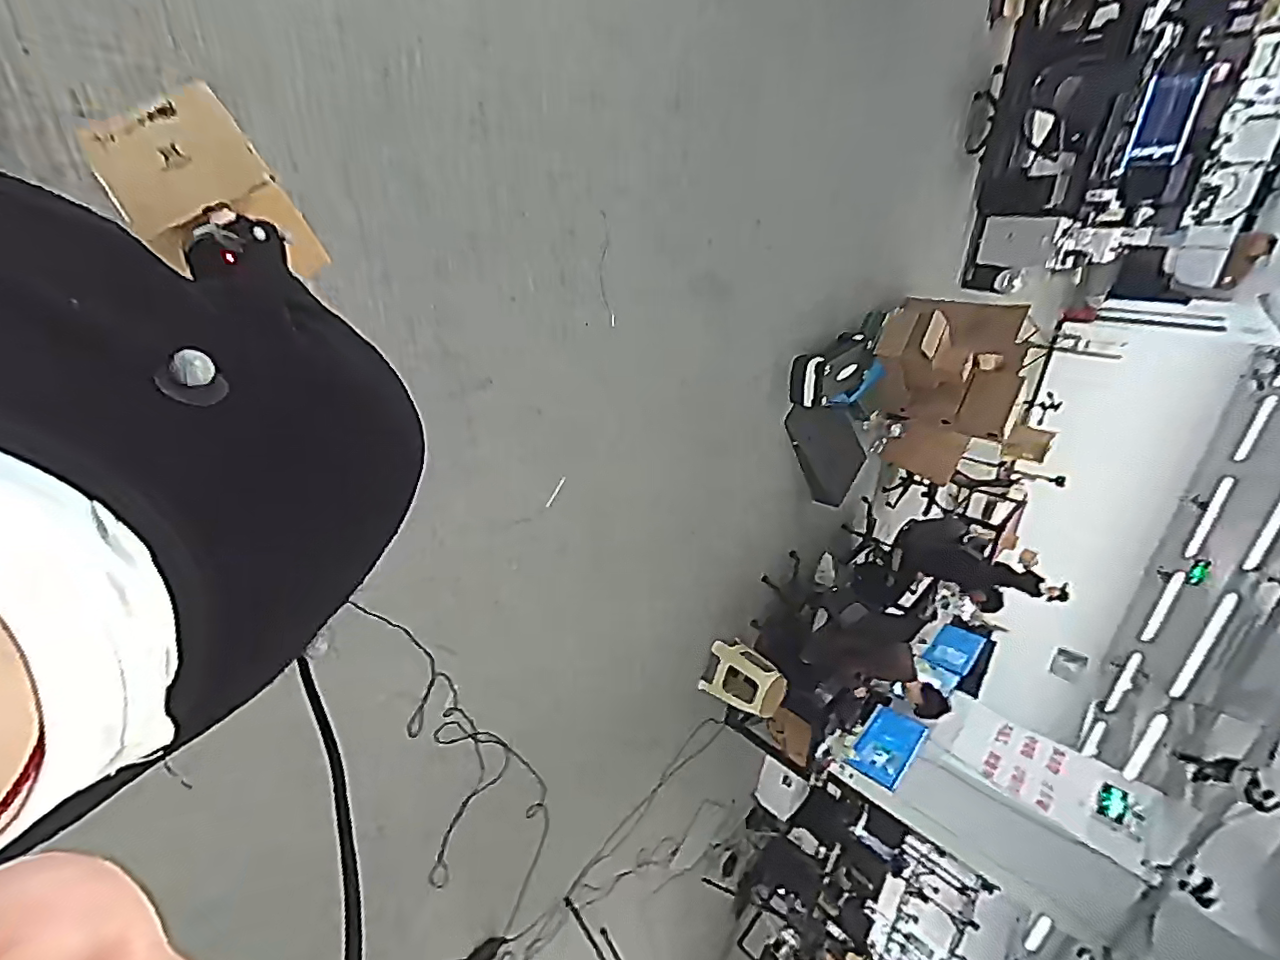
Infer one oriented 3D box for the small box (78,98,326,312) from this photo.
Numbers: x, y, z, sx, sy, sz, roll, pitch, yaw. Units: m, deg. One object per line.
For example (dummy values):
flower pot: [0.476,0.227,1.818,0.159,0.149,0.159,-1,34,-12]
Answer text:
small box: [-0.580,-0.360,0.745,0.168,0.179,0.176,-38,173,-12]
